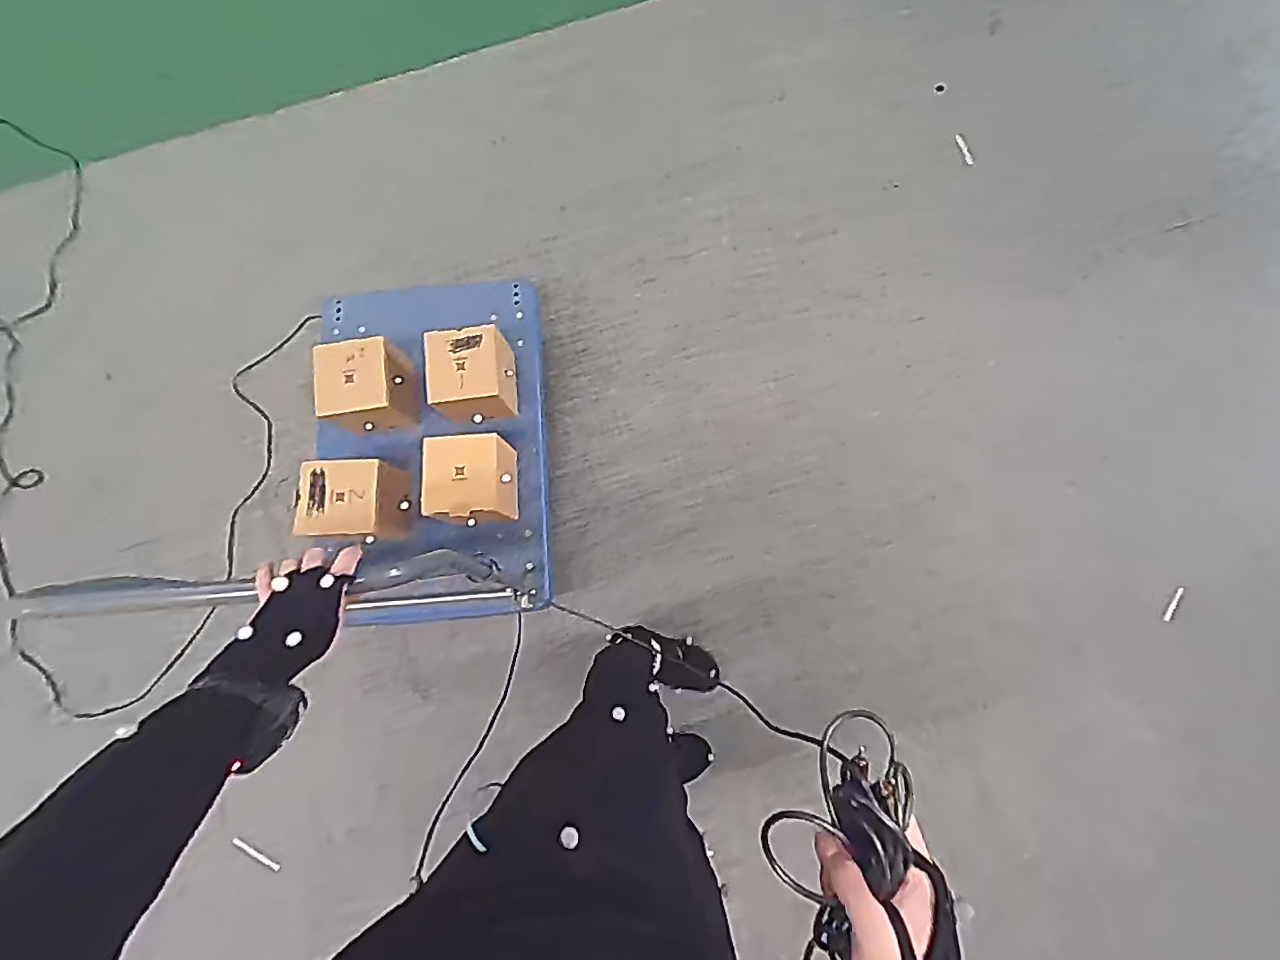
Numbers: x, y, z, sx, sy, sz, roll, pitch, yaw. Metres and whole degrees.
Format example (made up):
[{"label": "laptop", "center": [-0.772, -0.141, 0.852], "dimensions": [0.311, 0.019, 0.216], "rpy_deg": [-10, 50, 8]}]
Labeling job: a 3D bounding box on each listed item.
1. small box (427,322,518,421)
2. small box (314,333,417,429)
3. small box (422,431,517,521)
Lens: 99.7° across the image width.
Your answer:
[{"label": "small box", "center": [-0.396, -0.255, 1.296], "dimensions": [0.168, 0.176, 0.179], "rpy_deg": [-6, 80, 2]}, {"label": "small box", "center": [-0.652, -0.229, 1.301], "dimensions": [0.168, 0.176, 0.179], "rpy_deg": [-8, 79, 0]}, {"label": "small box", "center": [-0.386, -0.004, 1.250], "dimensions": [0.168, 0.176, 0.179], "rpy_deg": [-3, 80, 2]}]
